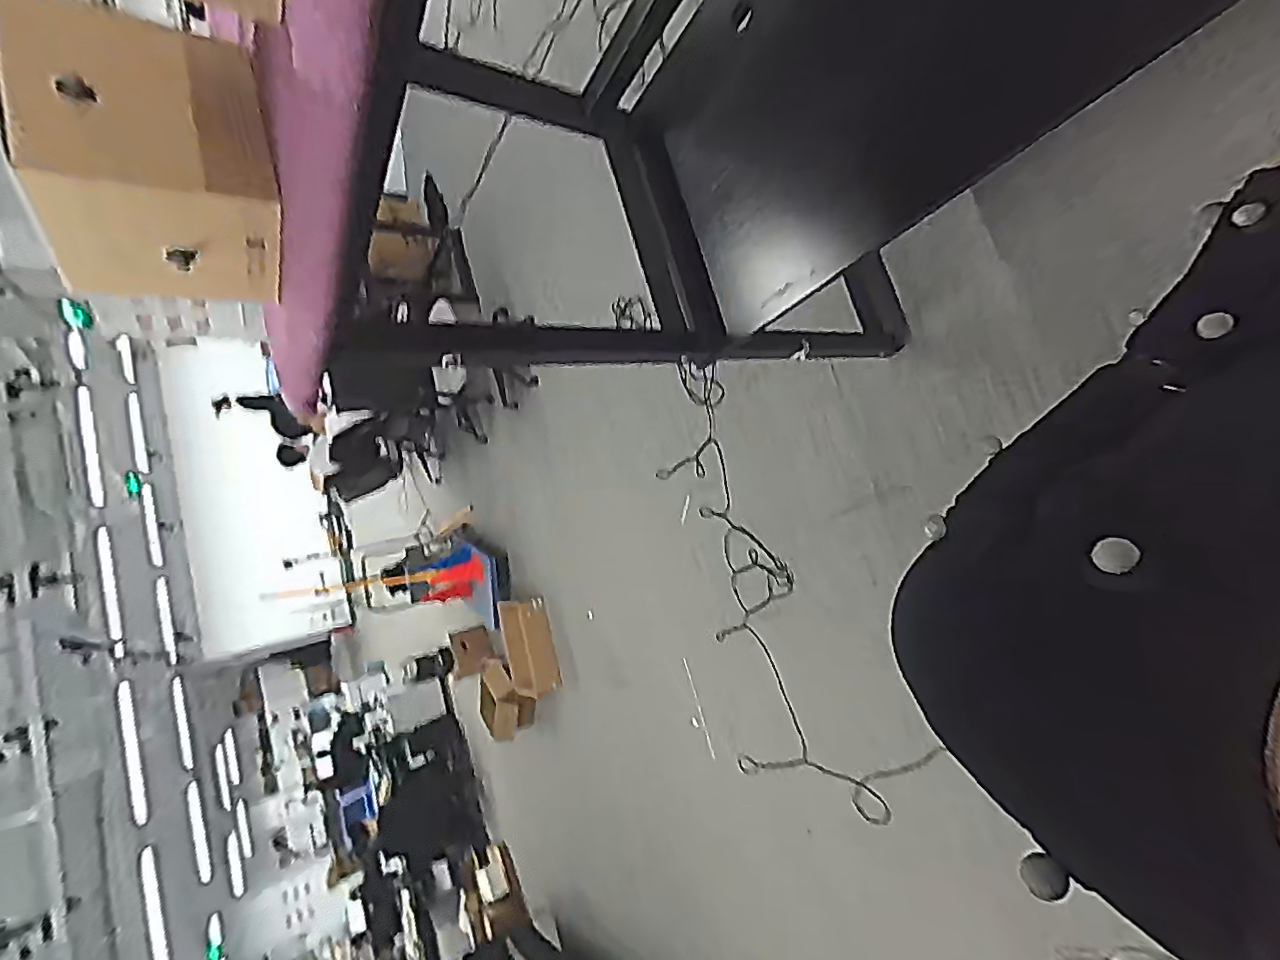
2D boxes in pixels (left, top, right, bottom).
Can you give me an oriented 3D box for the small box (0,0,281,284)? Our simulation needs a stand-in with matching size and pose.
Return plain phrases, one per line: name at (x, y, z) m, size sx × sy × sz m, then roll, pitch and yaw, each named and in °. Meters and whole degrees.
small box at (-0.446, -0.300, 0.500) m, size 0.168 × 0.176 × 0.179 m, roll -28°, pitch 75°, yaw 50°
